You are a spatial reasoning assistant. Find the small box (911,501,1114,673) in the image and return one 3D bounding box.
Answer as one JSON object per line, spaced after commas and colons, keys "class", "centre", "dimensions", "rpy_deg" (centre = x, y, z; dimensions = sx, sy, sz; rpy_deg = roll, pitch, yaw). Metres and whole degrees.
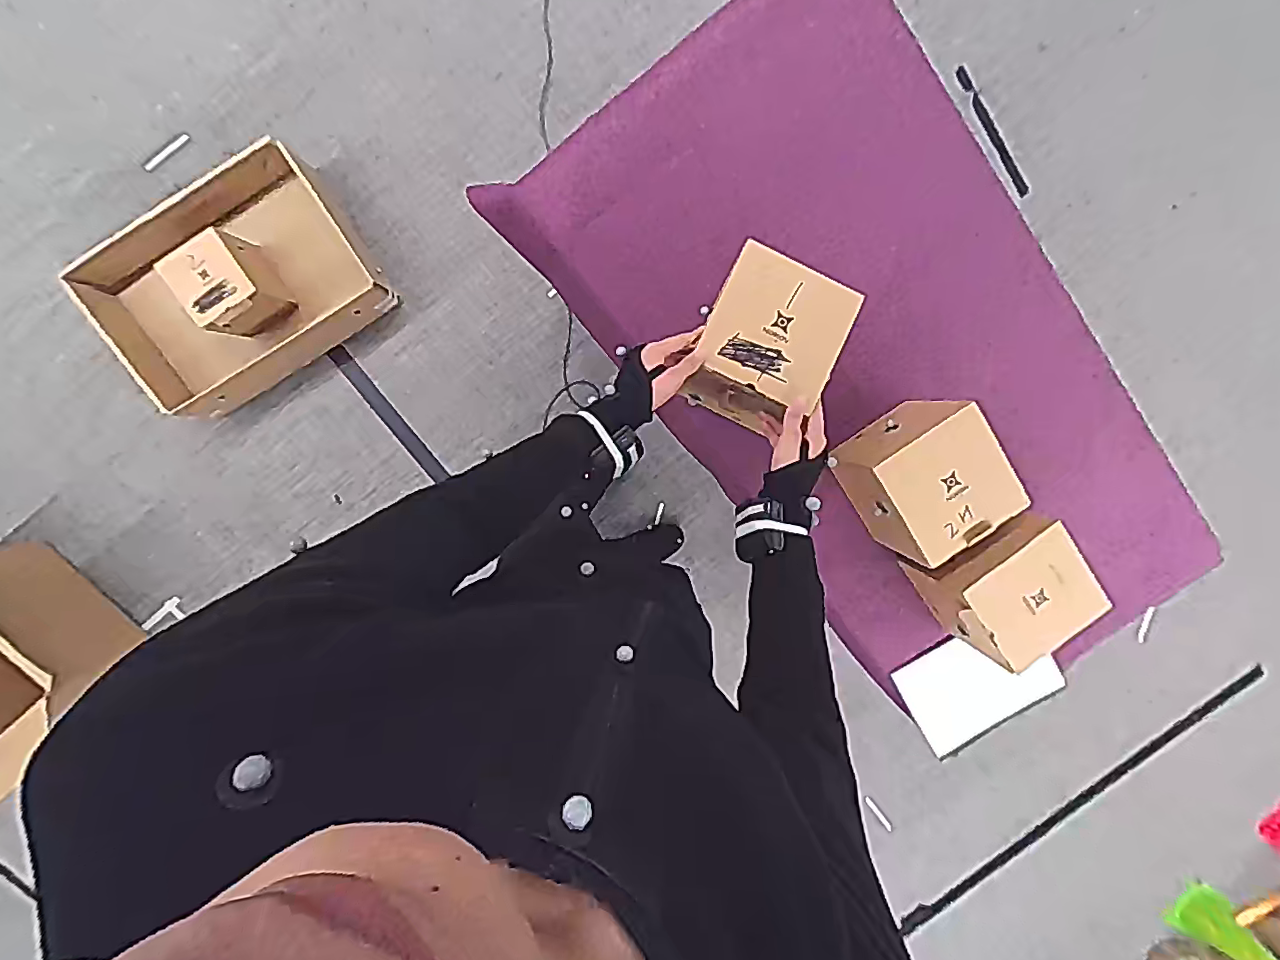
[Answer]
{"class": "small box", "centre": [0.559, 0.156, 0.843], "dimensions": [0.179, 0.176, 0.168], "rpy_deg": [-37, 99, 1]}
